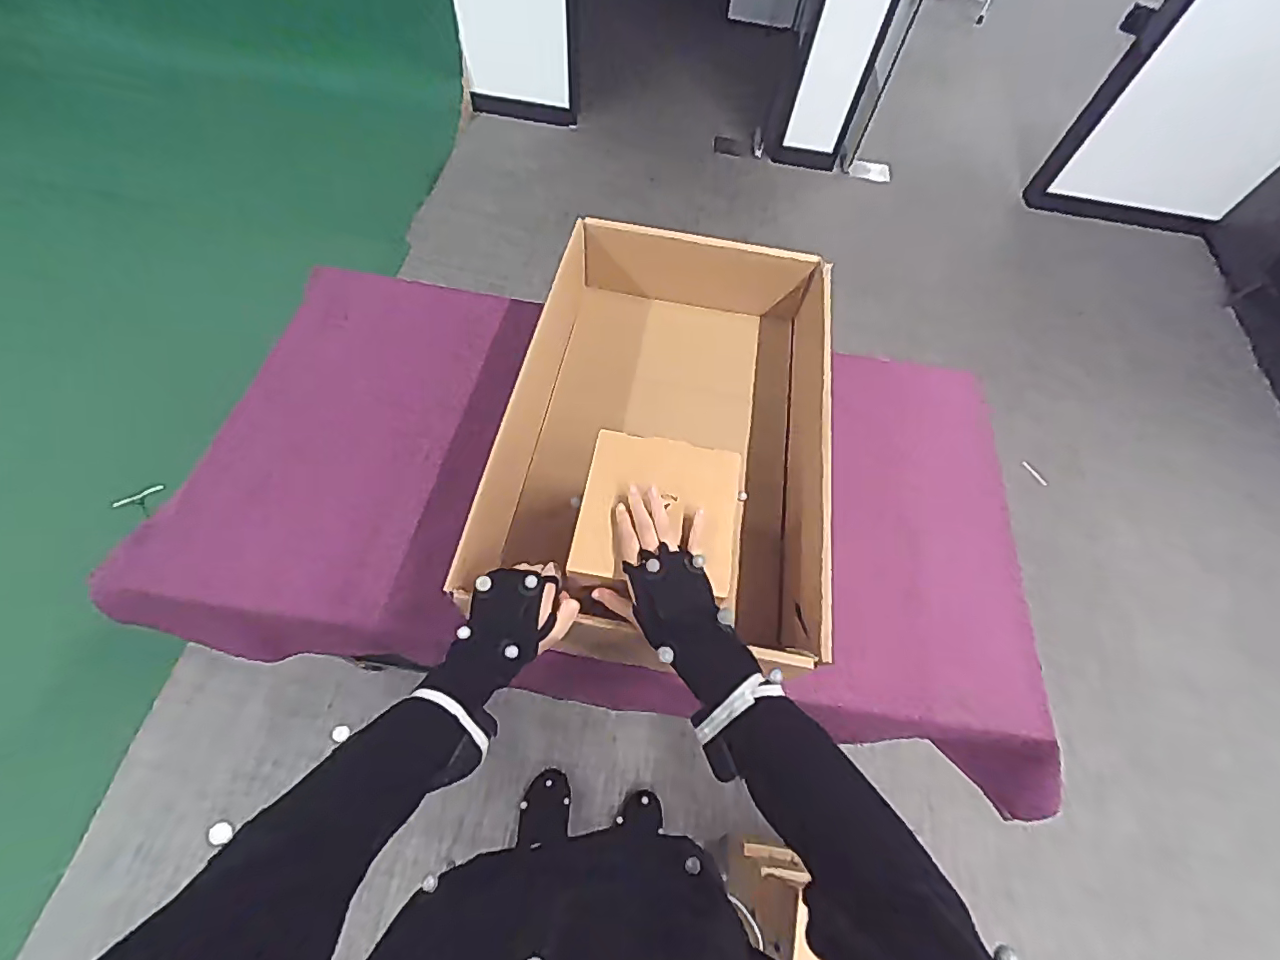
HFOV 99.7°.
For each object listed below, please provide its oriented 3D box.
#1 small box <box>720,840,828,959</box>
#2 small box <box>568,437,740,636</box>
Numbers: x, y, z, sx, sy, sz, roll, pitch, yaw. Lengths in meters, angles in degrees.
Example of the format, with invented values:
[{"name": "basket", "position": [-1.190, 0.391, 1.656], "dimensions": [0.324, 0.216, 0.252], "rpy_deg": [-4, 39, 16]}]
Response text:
[{"name": "small box", "position": [0.275, 0.867, 1.130], "dimensions": [0.179, 0.176, 0.168], "rpy_deg": [8, 61, 1]}, {"name": "small box", "position": [0.017, 0.076, 0.648], "dimensions": [0.168, 0.176, 0.179], "rpy_deg": [9, 61, 2]}]
